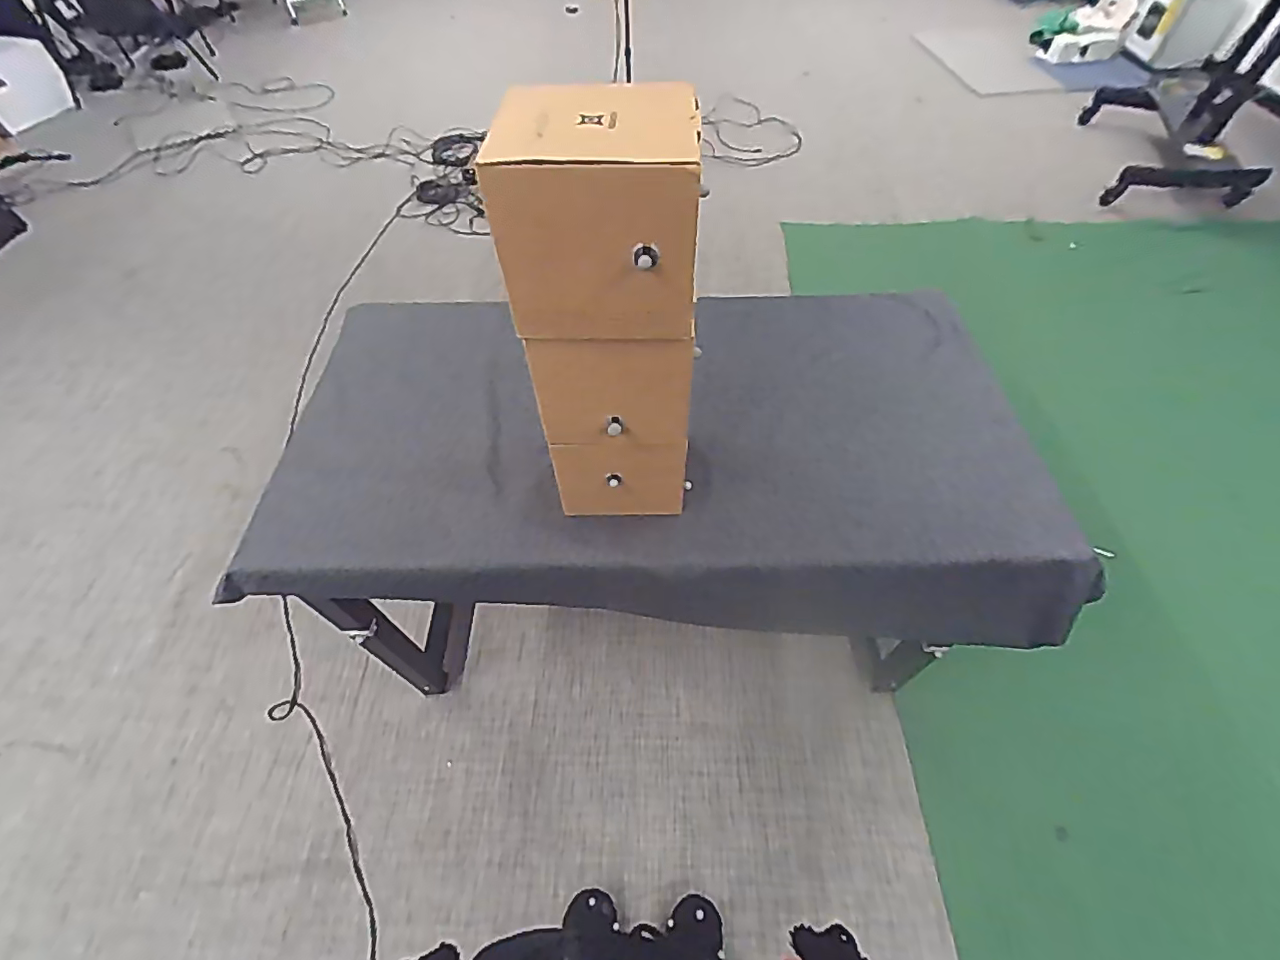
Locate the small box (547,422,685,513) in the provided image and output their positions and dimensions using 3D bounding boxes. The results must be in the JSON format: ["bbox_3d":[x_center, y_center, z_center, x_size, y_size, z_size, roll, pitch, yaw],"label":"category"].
[{"bbox_3d":[-0.028,-0.063,0.789,0.179,0.176,0.168,-1,53,2],"label":"small box"}]

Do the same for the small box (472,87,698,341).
[{"bbox_3d":[-0.038,-0.250,0.522,0.179,0.176,0.168,0,53,3],"label":"small box"}]

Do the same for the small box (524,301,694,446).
[{"bbox_3d":[-0.032,-0.155,0.657,0.179,0.176,0.168,-2,55,1],"label":"small box"}]
